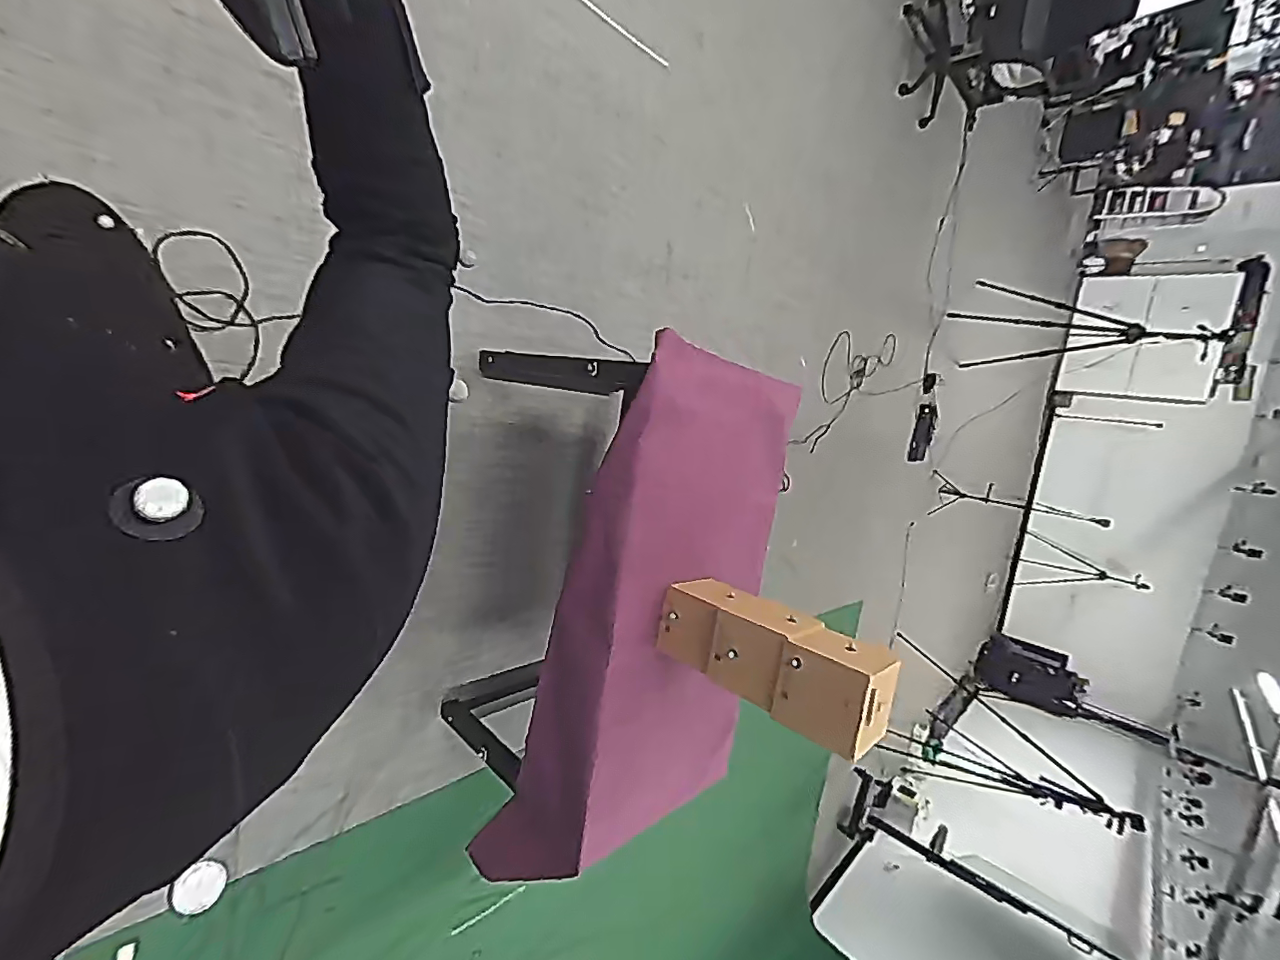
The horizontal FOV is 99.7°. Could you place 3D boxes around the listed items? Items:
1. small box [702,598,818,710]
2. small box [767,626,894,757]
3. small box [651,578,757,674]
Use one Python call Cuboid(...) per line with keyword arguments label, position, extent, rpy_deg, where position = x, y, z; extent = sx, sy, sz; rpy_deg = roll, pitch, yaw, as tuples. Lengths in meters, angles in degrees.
Cuboid(label="small box", position=(0.262, 0.368, 1.183), extent=(0.179, 0.176, 0.168), rpy_deg=(4, 98, -47))
Cuboid(label="small box", position=(0.372, 0.404, 1.067), extent=(0.179, 0.176, 0.168), rpy_deg=(5, 98, -48))
Cuboid(label="small box", position=(0.154, 0.341, 1.304), extent=(0.179, 0.176, 0.168), rpy_deg=(6, 96, -47))
